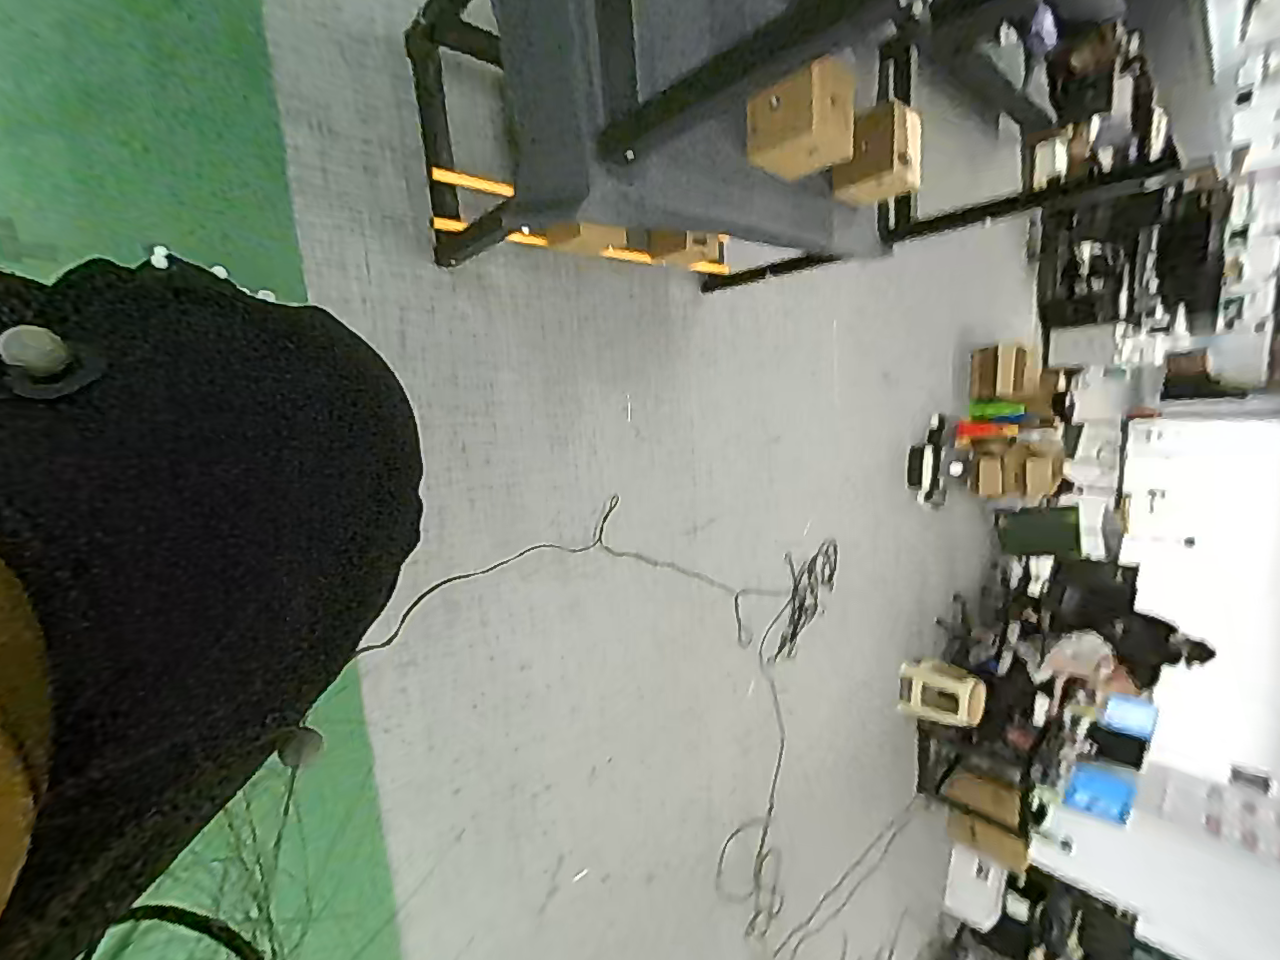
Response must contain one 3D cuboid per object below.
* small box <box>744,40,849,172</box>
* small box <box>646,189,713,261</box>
[{"bbox_3d":[0.345,-0.818,1.206,0.179,0.176,0.168,-9,100,-42],"label":"small box"},{"bbox_3d":[0.135,-0.866,1.859,0.168,0.176,0.179,-8,100,-42],"label":"small box"}]
